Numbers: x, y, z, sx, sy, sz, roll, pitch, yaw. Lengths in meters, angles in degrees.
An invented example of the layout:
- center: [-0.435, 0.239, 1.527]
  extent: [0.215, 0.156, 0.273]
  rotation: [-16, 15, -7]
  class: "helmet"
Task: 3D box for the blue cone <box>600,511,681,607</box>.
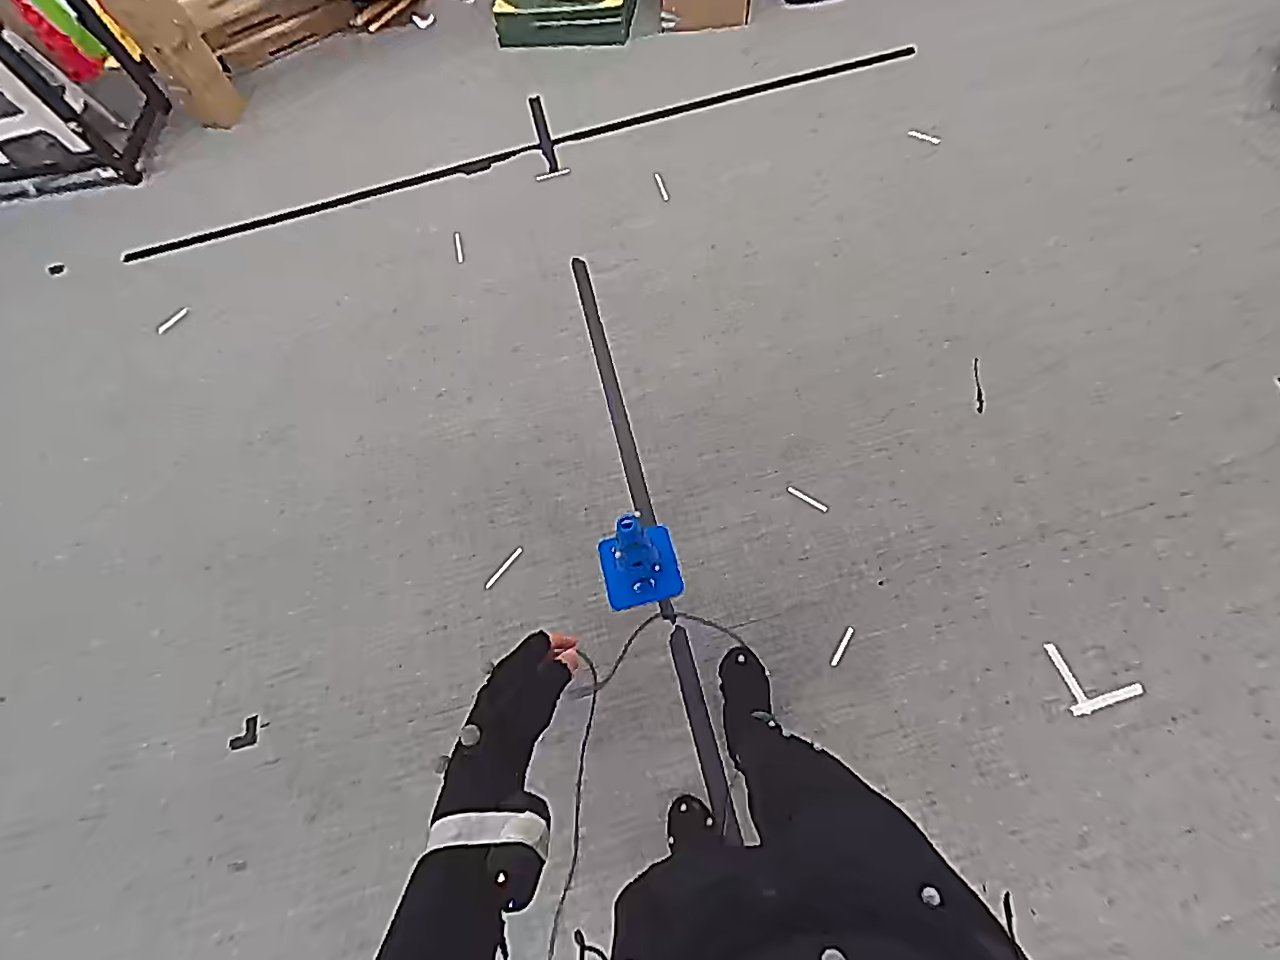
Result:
- center: [-0.013, 0.162, 1.280]
  extent: [0.193, 0.380, 0.192]
  rotation: [-17, 66, -1]
  class: "blue cone"
